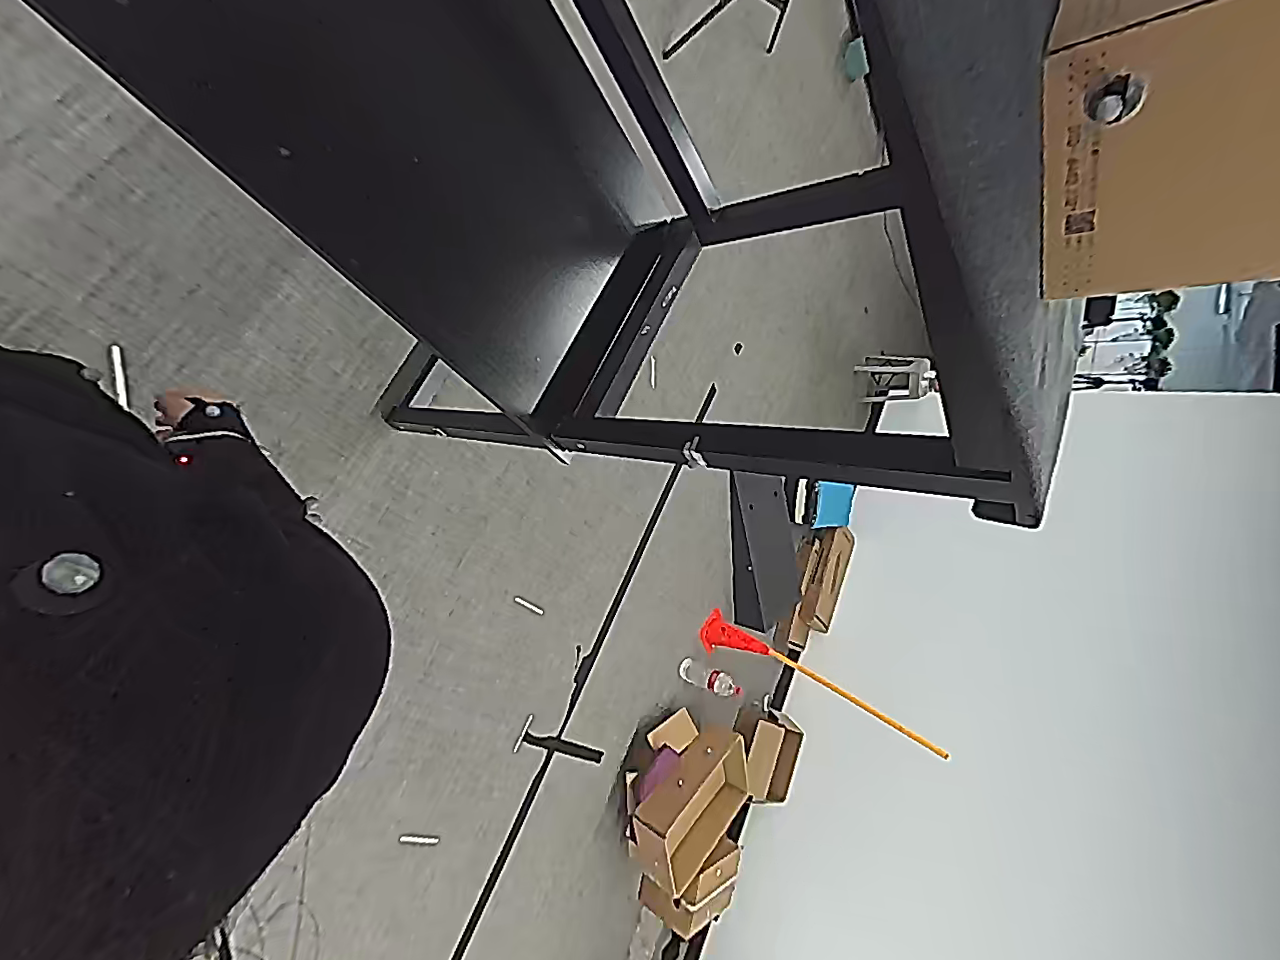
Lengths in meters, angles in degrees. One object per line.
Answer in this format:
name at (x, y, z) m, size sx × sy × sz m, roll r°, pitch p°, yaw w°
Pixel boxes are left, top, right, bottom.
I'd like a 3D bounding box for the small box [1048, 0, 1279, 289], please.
small box at (0.354, -0.238, 0.319) m, size 0.168 × 0.176 × 0.179 m, roll 49°, pitch 58°, yaw -42°
